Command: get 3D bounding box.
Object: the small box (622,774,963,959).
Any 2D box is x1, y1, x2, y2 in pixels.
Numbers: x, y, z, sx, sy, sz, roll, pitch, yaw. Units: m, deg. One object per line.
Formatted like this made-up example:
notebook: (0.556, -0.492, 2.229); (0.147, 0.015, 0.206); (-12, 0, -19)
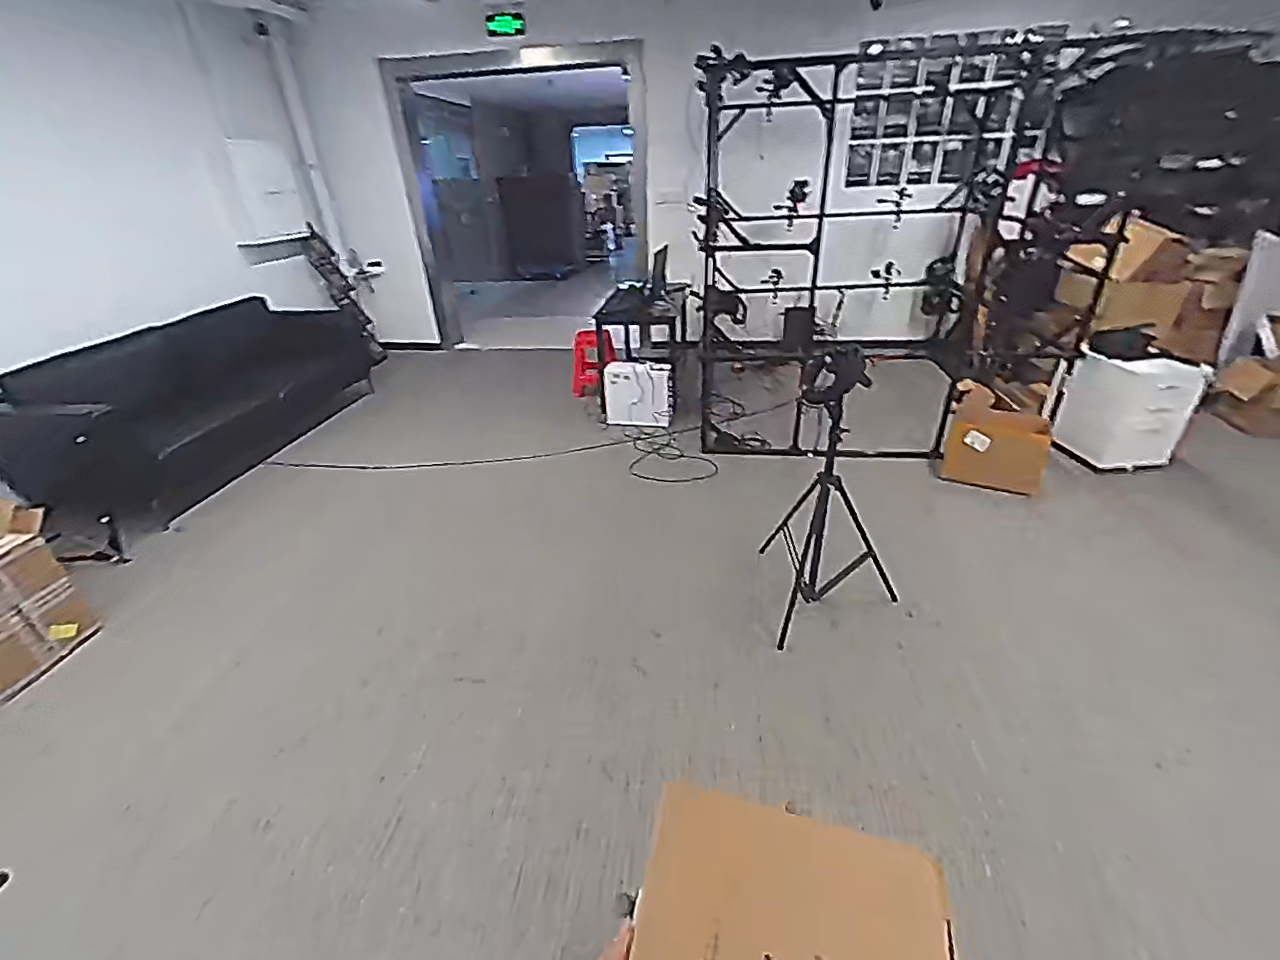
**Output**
small box: (0.079, 0.310, 0.341); (0.179, 0.176, 0.168); (11, 51, 7)
